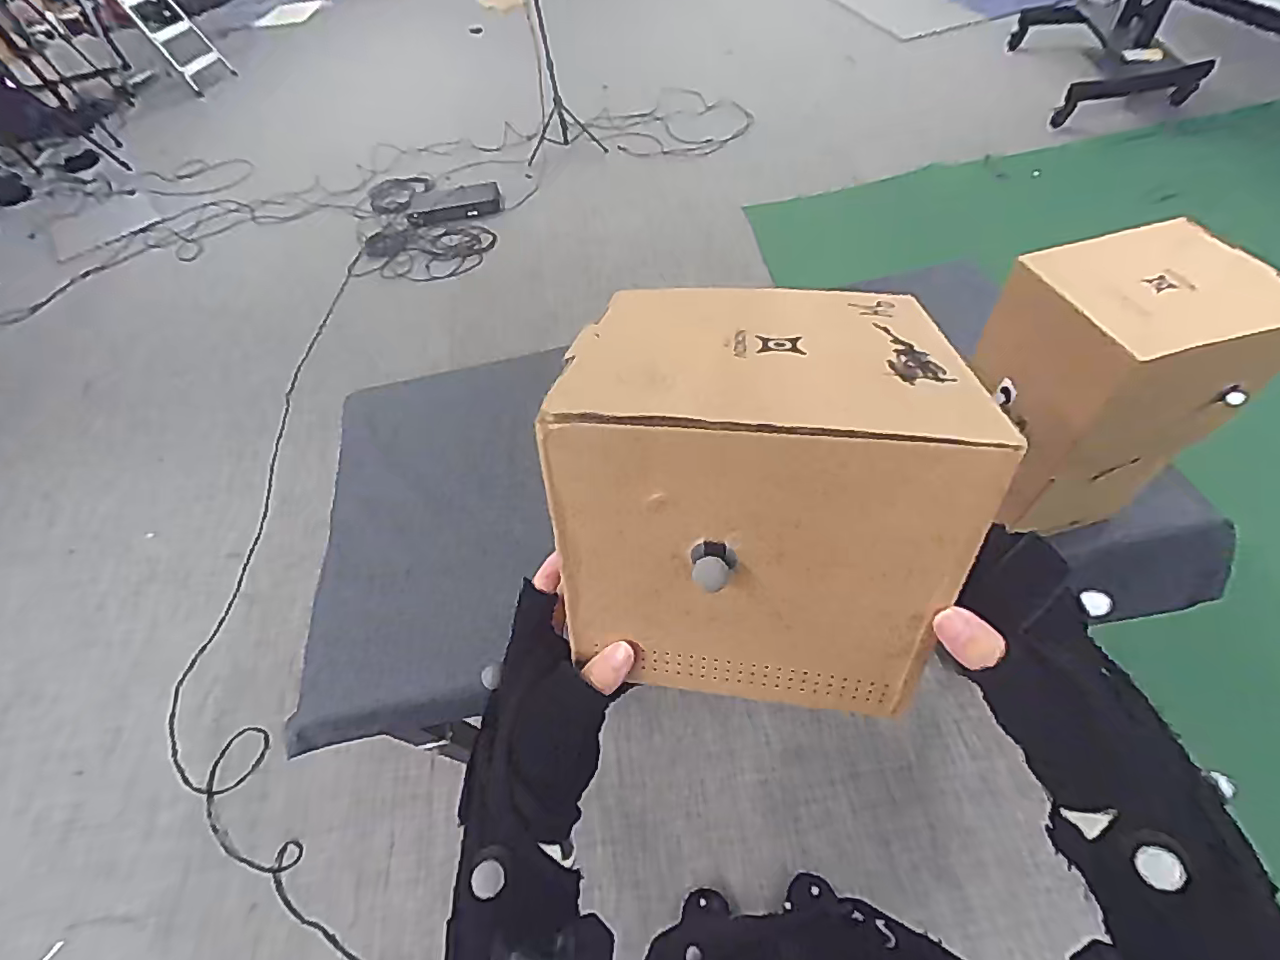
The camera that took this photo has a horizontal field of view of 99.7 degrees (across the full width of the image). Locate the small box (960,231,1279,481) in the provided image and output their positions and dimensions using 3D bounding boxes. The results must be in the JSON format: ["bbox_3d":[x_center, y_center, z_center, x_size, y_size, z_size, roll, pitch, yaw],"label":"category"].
[{"bbox_3d":[0.481,-0.123,0.566,0.179,0.176,0.168,-14,52,0],"label":"small box"}]

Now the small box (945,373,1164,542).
[{"bbox_3d":[0.500,-0.037,0.702,0.168,0.176,0.179,-15,53,-2],"label":"small box"}]

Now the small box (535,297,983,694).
[{"bbox_3d":[0.057,0.002,0.318,0.179,0.176,0.168,4,36,9],"label":"small box"}]
